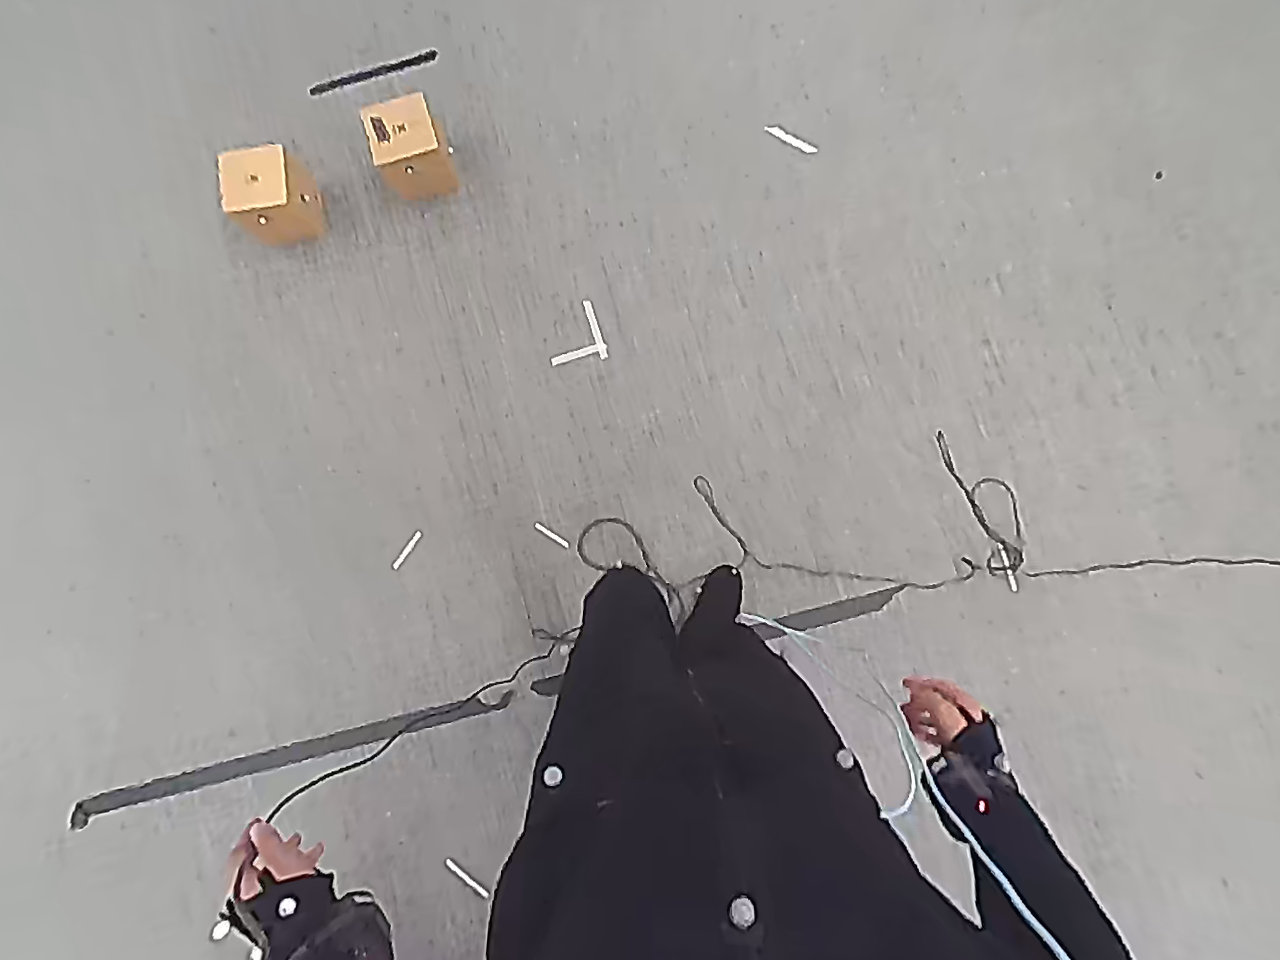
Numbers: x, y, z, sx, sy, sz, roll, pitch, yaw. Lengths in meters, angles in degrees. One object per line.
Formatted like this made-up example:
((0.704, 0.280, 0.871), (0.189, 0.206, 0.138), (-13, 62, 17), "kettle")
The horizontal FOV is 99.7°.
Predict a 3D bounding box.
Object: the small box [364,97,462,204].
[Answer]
((-0.619, -0.896, 1.490), (0.179, 0.176, 0.168), (-17, 85, -1), "small box")

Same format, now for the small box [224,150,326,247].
((-0.994, -0.767, 1.489), (0.179, 0.176, 0.168), (-8, 85, 2), "small box")
